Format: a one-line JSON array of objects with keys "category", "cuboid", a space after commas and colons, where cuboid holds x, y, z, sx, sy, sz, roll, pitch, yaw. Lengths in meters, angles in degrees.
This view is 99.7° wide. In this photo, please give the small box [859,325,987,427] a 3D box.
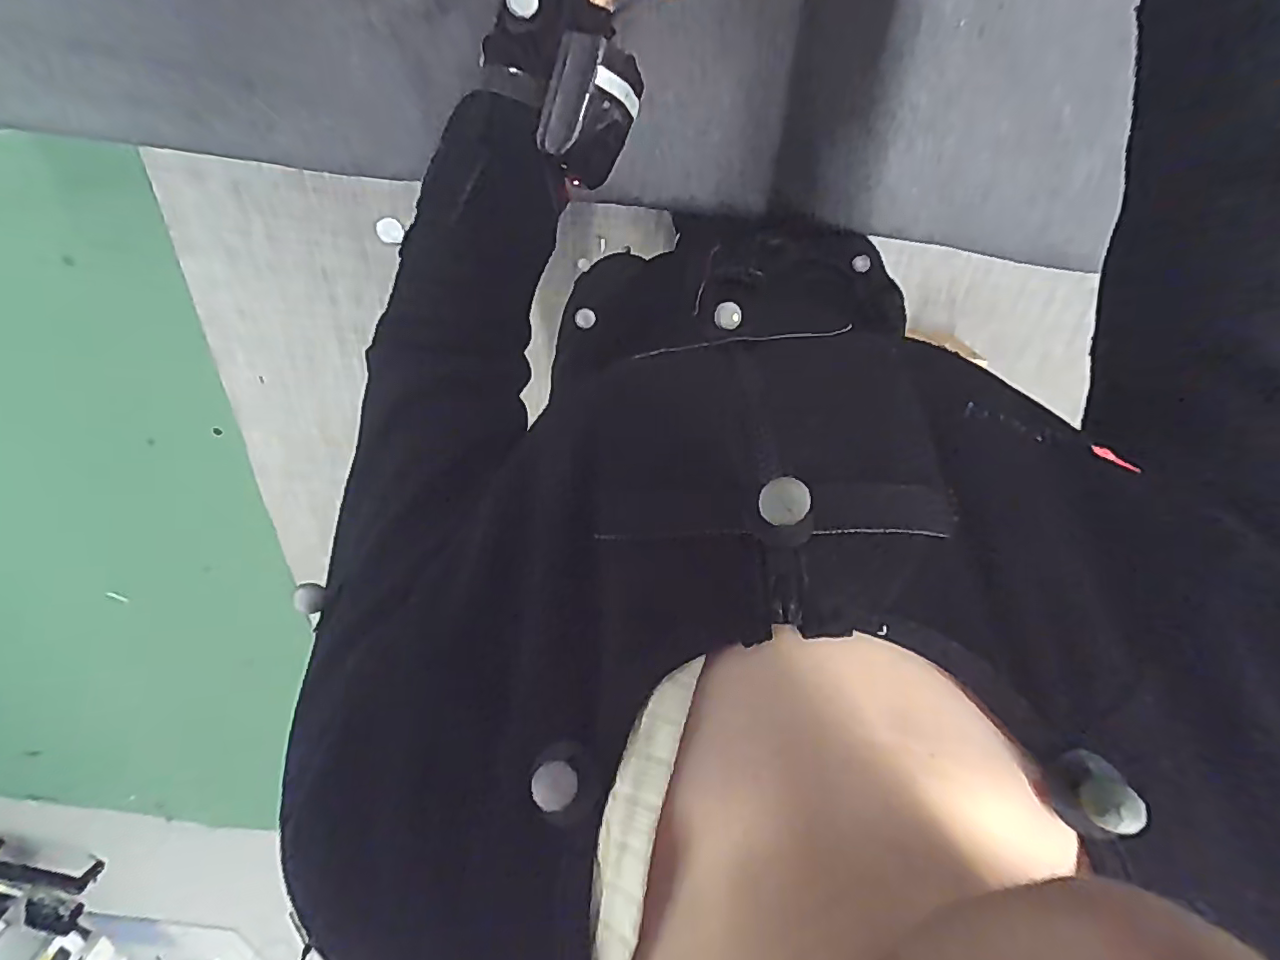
[{"category": "small box", "cuboid": [0.620, -0.238, 1.211, 0.179, 0.176, 0.168, 8, 122, 0]}]
